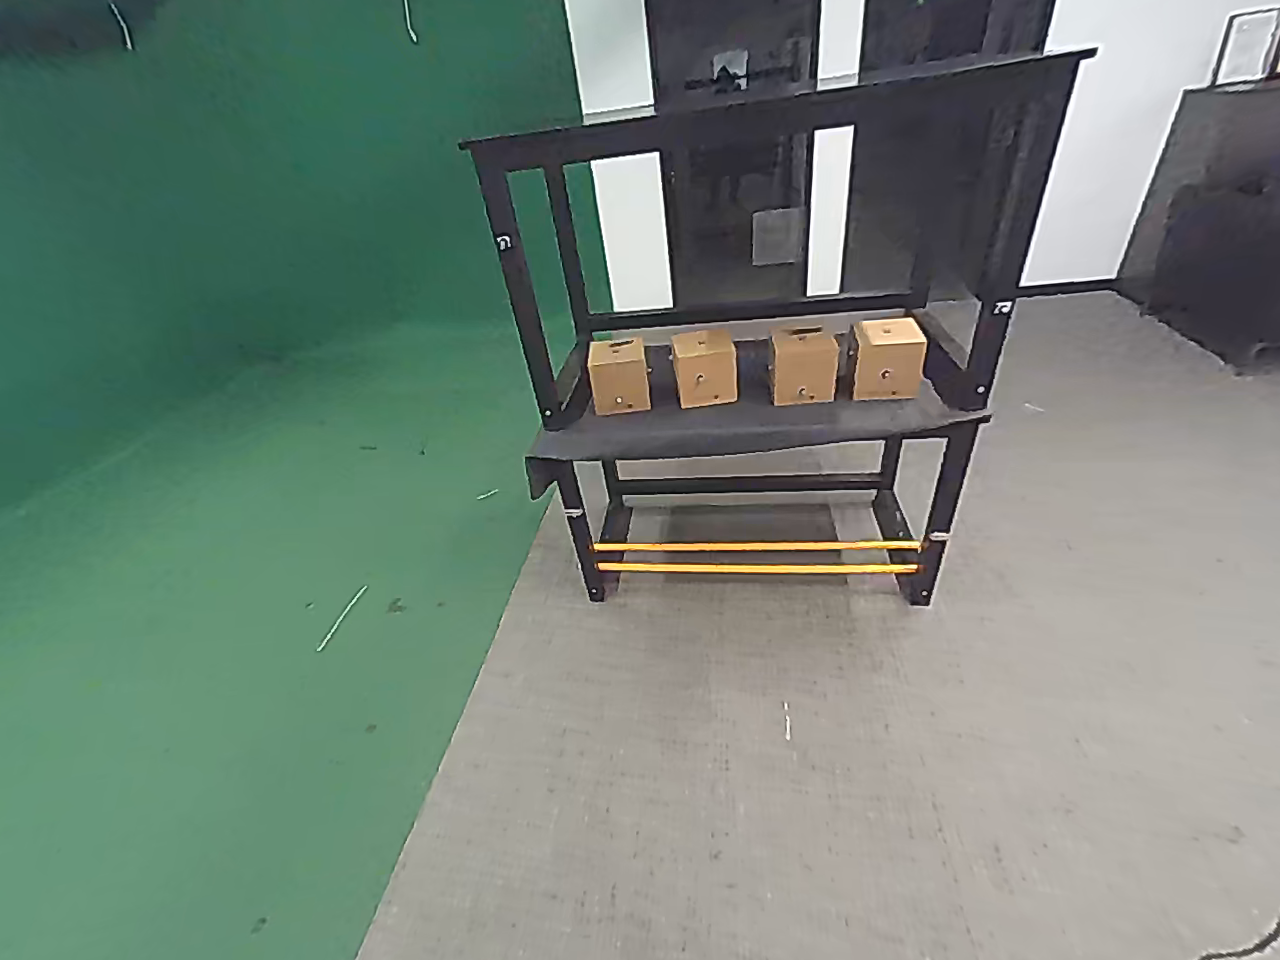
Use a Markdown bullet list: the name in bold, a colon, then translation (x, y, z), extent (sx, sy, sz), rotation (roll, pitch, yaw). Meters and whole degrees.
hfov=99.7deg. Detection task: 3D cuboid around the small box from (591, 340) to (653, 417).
- **small box**: translation (-0.051, -0.310, 1.647), extent (0.168, 0.176, 0.179), rotation (-6, 36, 4)
